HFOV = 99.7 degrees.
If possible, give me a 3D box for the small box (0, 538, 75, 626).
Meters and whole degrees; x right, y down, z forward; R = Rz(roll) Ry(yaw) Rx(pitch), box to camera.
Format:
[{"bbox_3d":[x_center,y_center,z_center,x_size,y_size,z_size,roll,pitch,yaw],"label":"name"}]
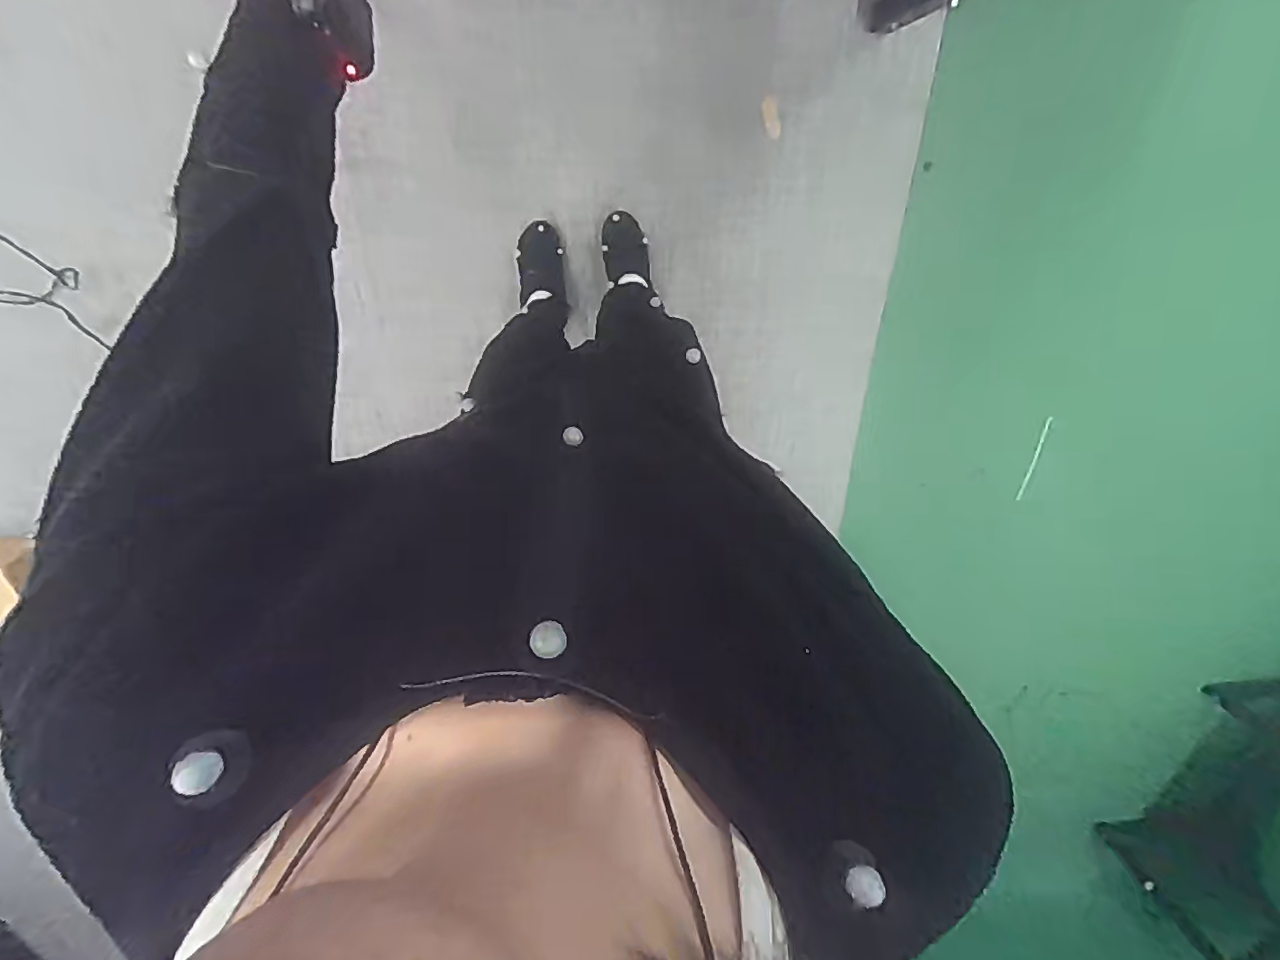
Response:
[{"bbox_3d":[-1.668,0.263,1.418,0.168,0.176,0.179,-4,119,-7],"label":"small box"}]
